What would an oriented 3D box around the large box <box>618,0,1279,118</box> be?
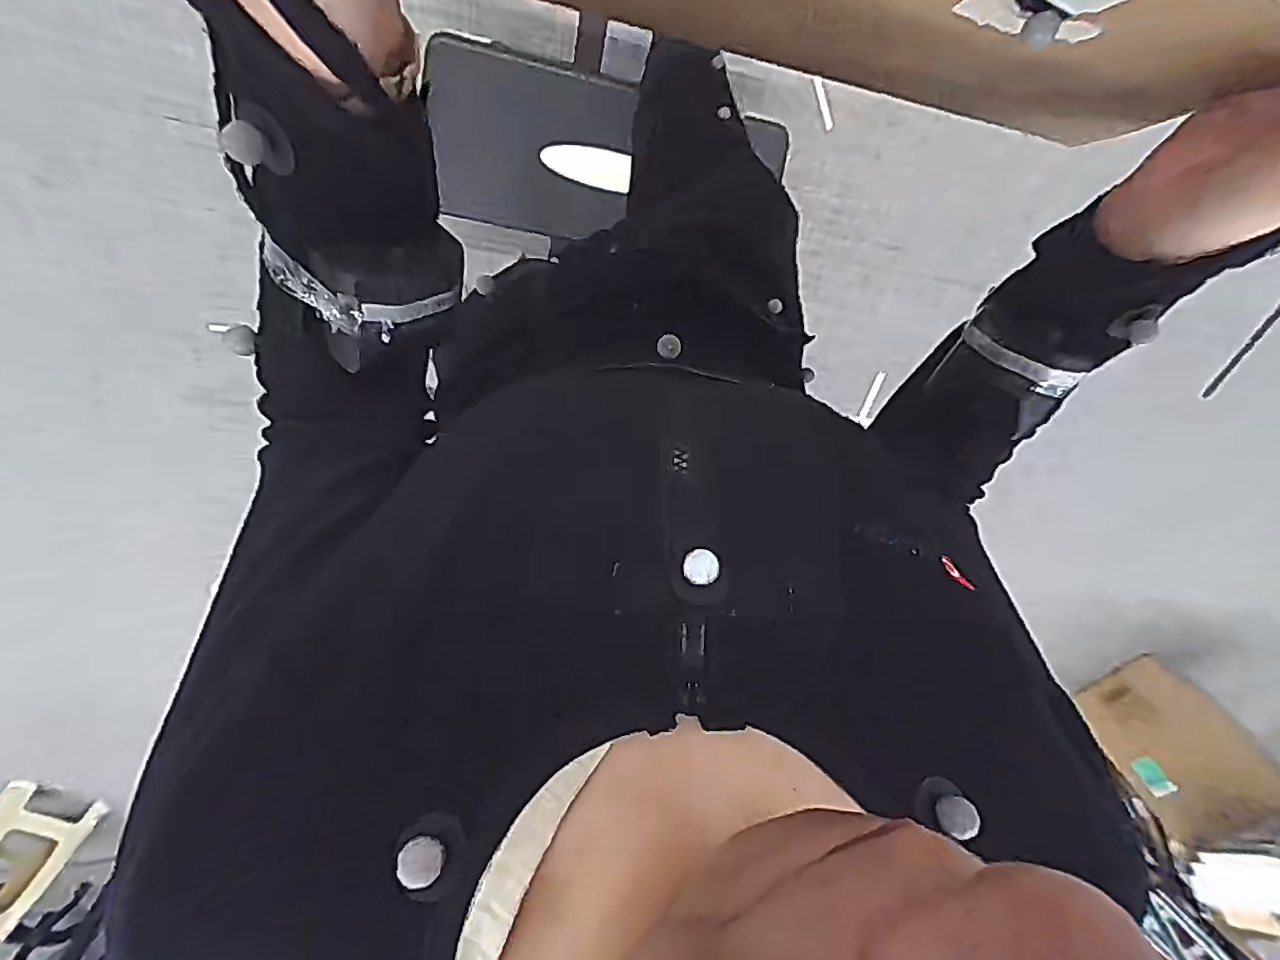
[{"bbox_3d":[0.118,-0.333,0.107,0.408,0.320,0.320,4,108,-13],"label":"large box"}]
